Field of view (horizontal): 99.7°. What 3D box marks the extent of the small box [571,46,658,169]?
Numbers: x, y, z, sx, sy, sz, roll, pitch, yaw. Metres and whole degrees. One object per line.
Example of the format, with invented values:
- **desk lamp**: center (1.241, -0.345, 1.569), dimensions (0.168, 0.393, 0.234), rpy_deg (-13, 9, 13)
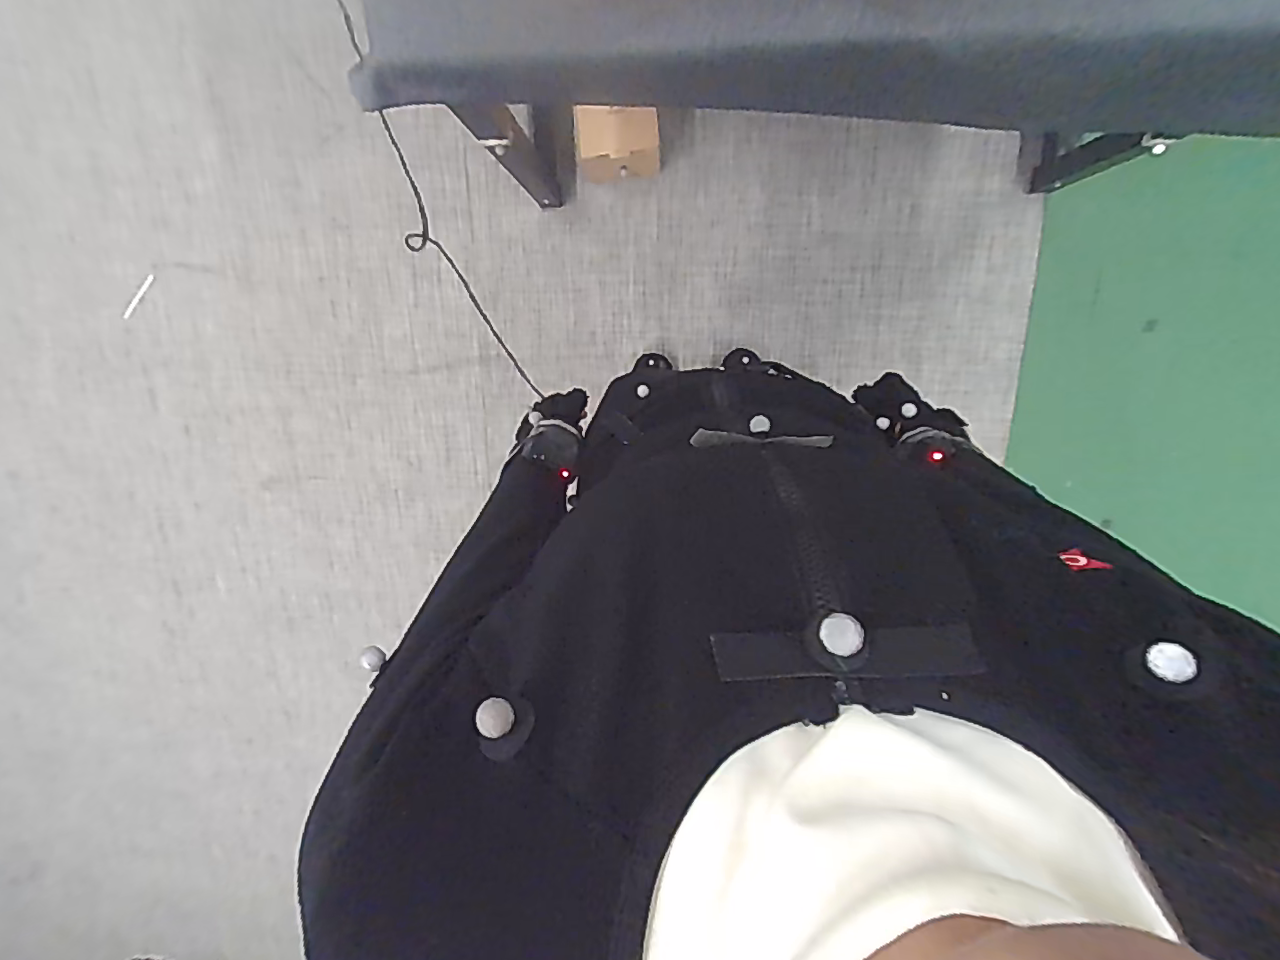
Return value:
- **small box**: center (-0.048, -0.791, 1.171), dimensions (0.168, 0.176, 0.179), rpy_deg (-4, 105, 3)
